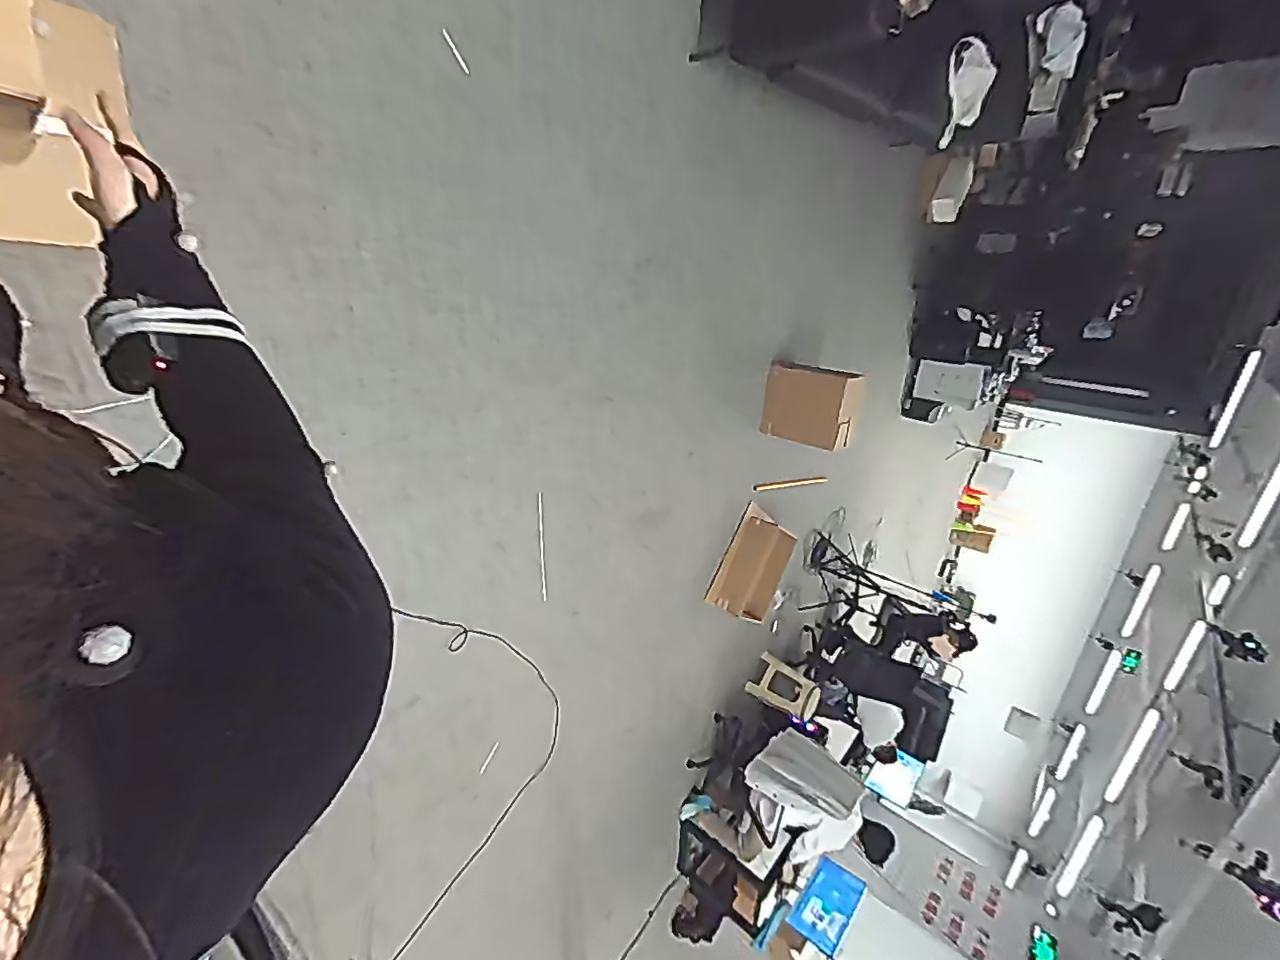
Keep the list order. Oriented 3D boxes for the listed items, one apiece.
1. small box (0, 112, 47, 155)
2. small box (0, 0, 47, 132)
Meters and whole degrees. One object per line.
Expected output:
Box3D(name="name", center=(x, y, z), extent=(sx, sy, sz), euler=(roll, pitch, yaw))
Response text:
Box3D(name="small box", center=(-0.698, -0.424, 0.503), extent=(0.179, 0.176, 0.168), euler=(-9, 110, -48))
Box3D(name="small box", center=(-0.575, -0.387, 0.401), extent=(0.168, 0.176, 0.179), euler=(-11, 113, -49))
